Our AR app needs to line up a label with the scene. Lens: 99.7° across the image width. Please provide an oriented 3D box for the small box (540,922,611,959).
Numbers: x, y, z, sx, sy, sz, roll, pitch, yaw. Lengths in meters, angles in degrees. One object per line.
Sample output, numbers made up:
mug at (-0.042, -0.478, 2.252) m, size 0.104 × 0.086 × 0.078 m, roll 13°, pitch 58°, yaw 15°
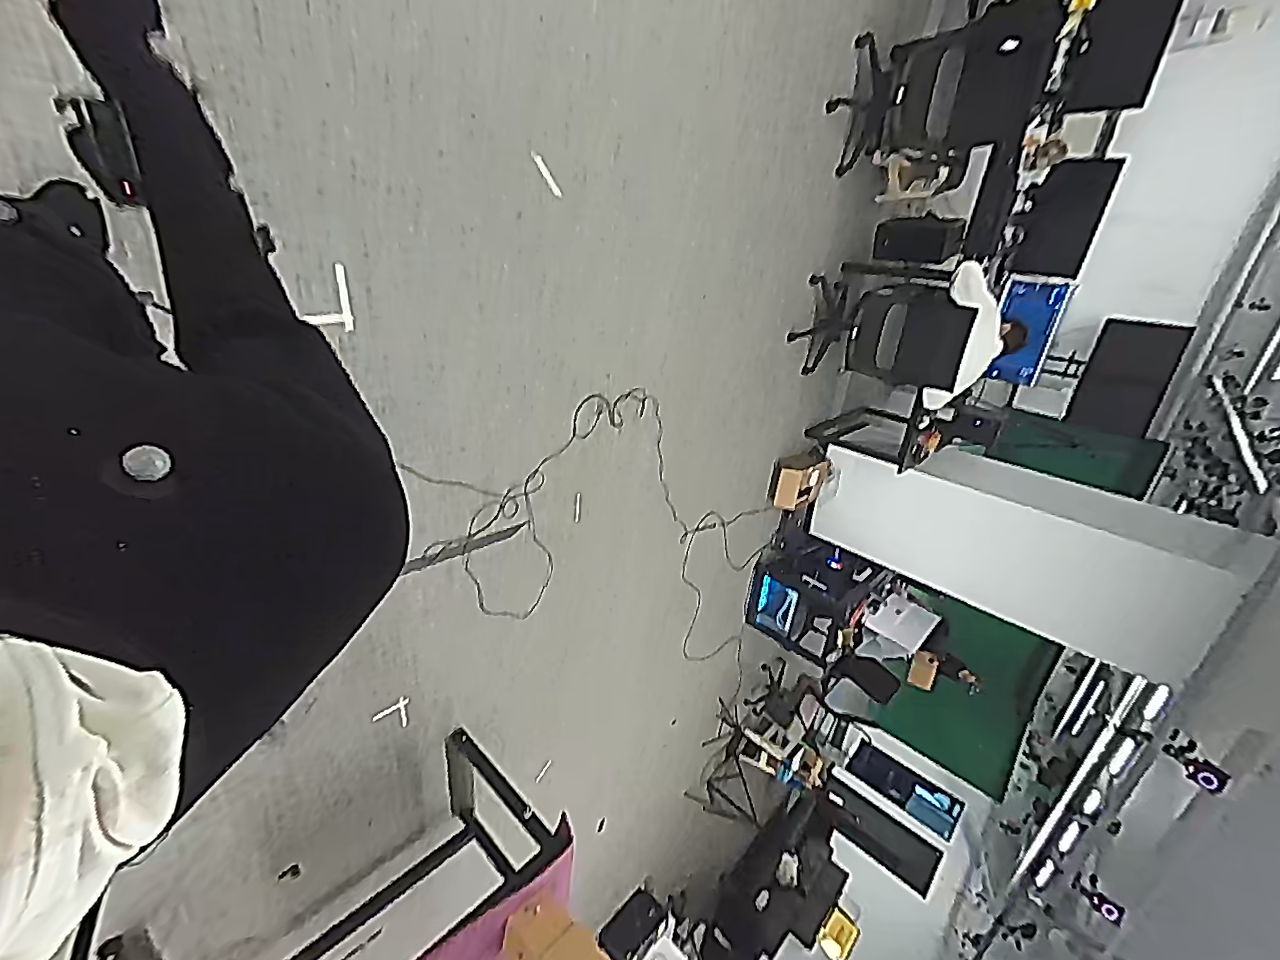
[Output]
small box at (-0.221, 1.602, 1.749) m, size 0.179 × 0.176 × 0.168 m, roll -11°, pitch 117°, yaw -47°

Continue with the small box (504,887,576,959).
small box at (-0.345, 1.558, 1.848) m, size 0.168 × 0.176 × 0.179 m, roll -8°, pitch 115°, yaw -48°
